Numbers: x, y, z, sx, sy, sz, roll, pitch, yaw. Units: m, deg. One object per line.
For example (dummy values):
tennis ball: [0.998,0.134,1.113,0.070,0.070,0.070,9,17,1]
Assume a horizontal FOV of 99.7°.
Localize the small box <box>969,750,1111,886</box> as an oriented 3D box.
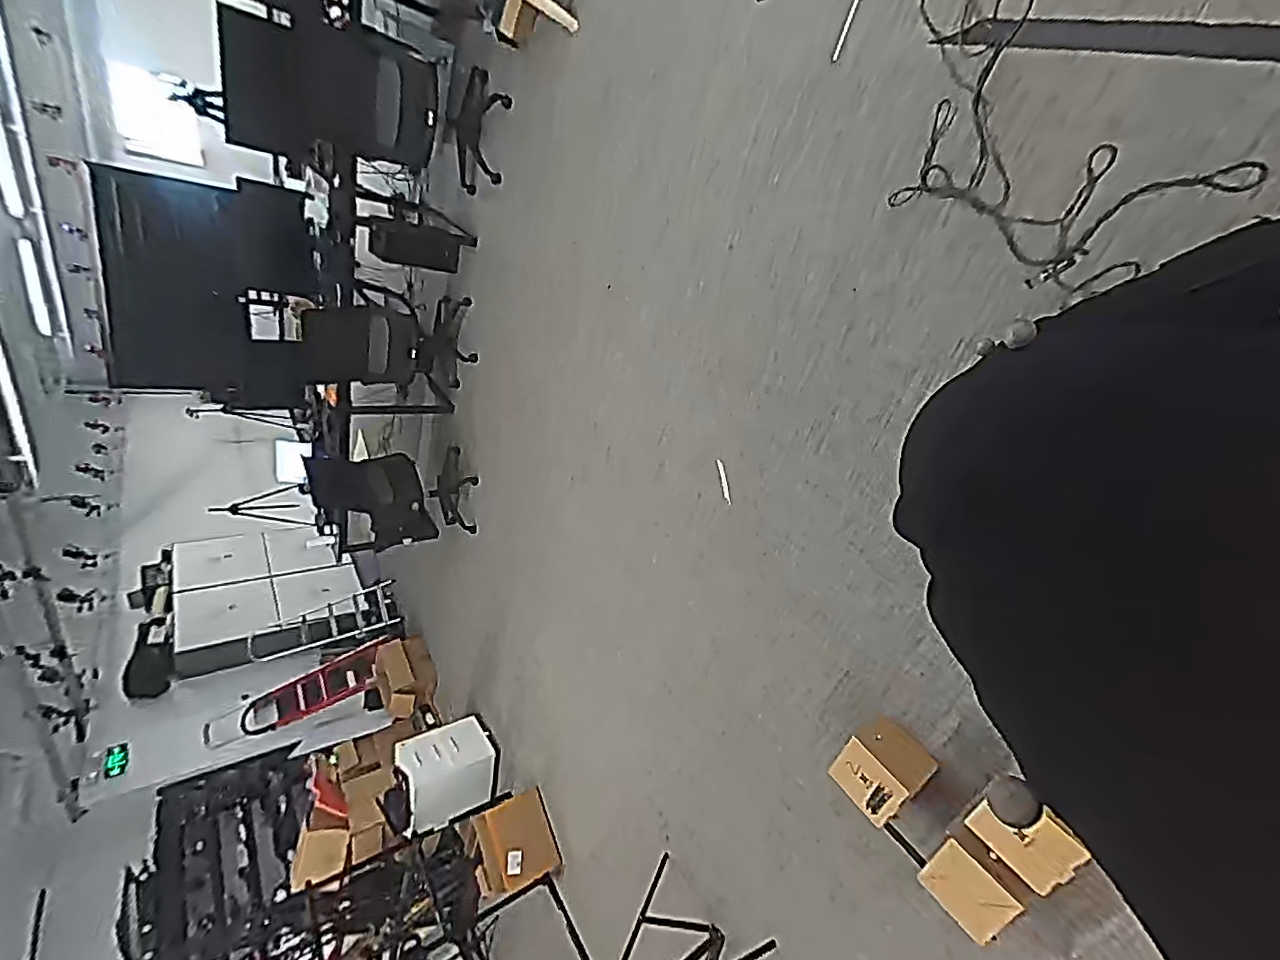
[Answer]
small box: [0.884,0.732,1.198,0.179,0.176,0.168,42,126,39]
